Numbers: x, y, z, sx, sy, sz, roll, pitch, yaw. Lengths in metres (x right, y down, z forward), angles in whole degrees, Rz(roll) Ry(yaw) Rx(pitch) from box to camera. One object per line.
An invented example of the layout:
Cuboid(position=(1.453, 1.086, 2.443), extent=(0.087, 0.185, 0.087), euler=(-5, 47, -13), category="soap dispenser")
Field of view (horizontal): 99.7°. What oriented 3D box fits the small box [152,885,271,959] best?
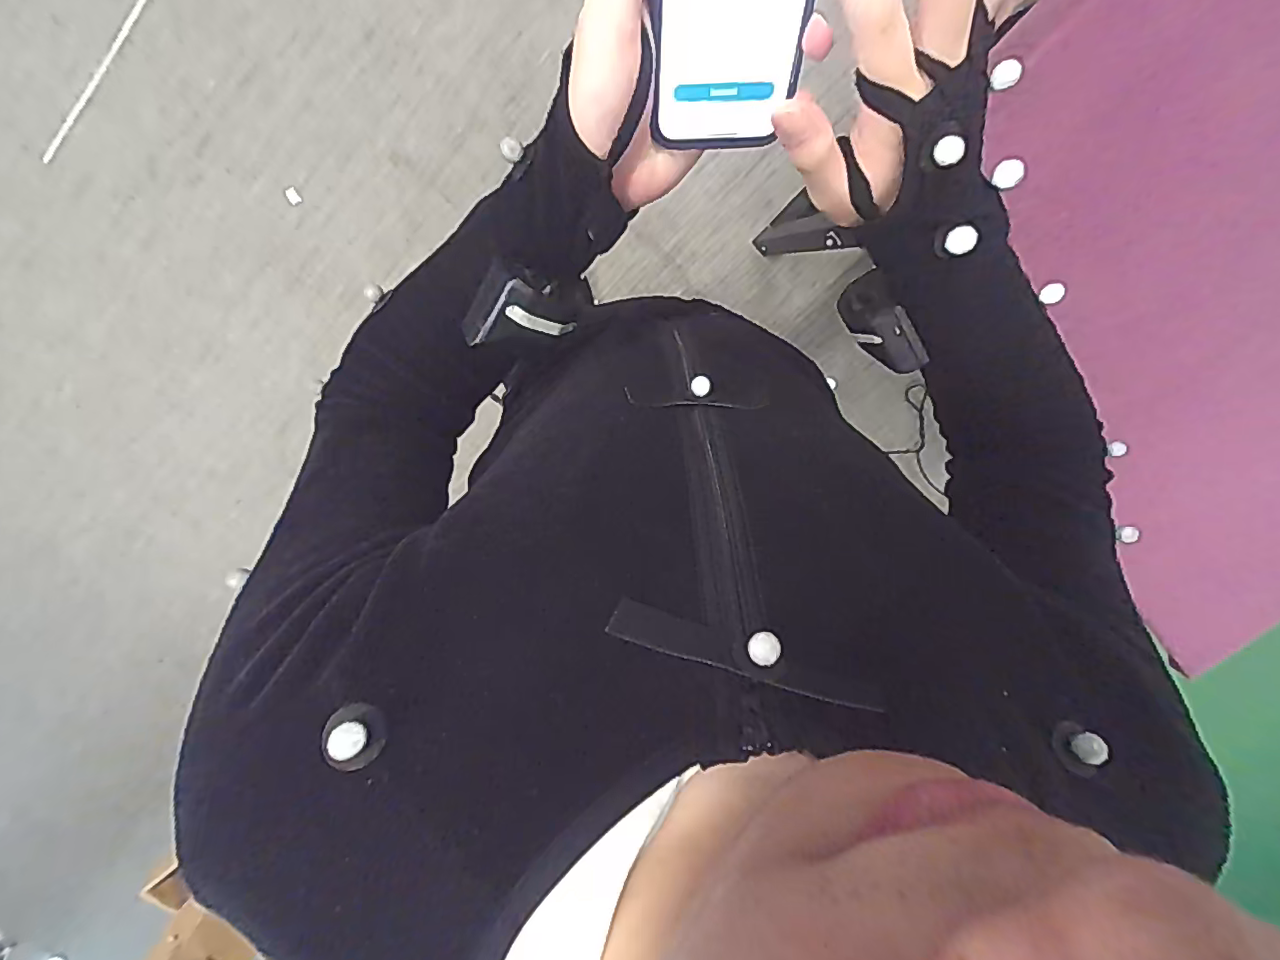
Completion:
Cuboid(position=(-1.039, 1.131, 1.303), extent=(0.179, 0.176, 0.168), euler=(-37, 108, 9), category="small box")
